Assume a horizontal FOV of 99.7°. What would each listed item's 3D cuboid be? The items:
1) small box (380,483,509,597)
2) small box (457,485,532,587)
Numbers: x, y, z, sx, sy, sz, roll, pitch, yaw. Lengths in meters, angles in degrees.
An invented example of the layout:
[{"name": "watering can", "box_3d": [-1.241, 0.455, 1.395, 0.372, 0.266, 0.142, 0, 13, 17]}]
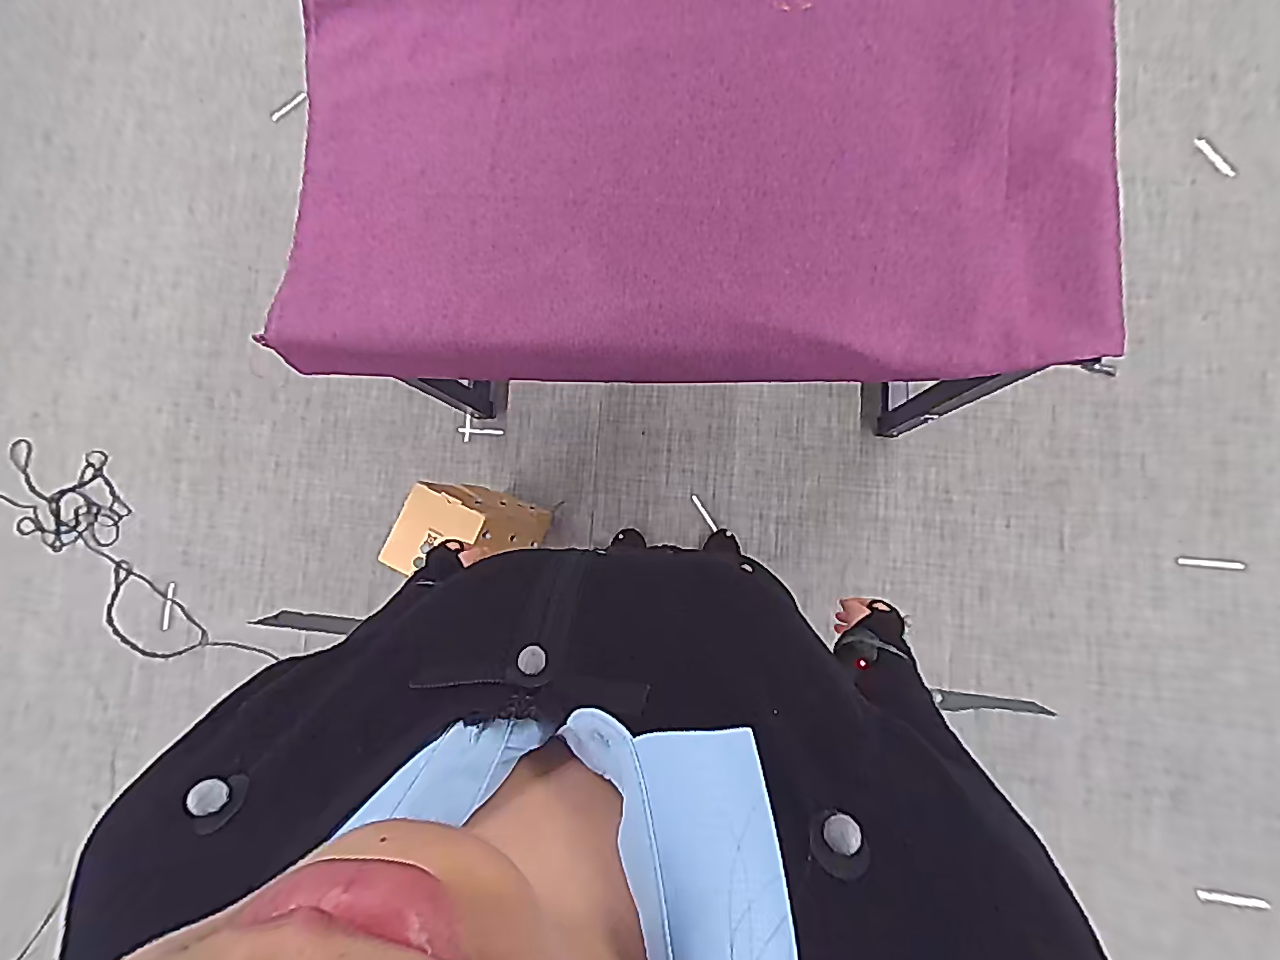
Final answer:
[{"name": "small box", "box_3d": [-0.398, 0.123, 1.137, 0.168, 0.176, 0.179, 25, 87, 6]}, {"name": "small box", "box_3d": [-0.380, 0.131, 1.299, 0.168, 0.176, 0.179, 32, 89, 7]}]
